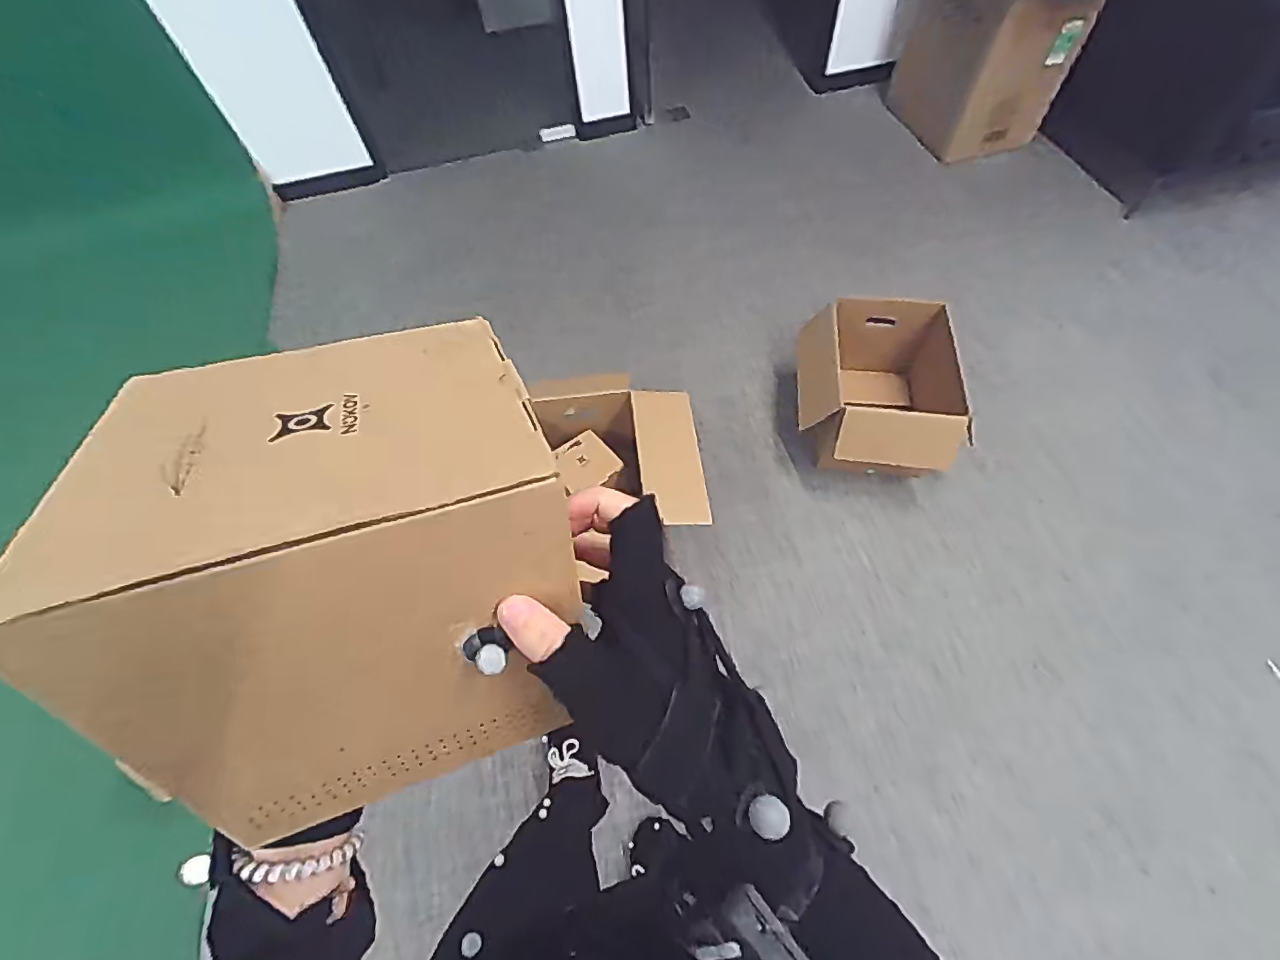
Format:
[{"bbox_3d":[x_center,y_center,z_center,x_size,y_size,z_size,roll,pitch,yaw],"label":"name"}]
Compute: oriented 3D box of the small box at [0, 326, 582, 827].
[{"bbox_3d":[-0.135,0.041,0.289,0.179,0.176,0.168,-16,41,-16],"label":"small box"}]
